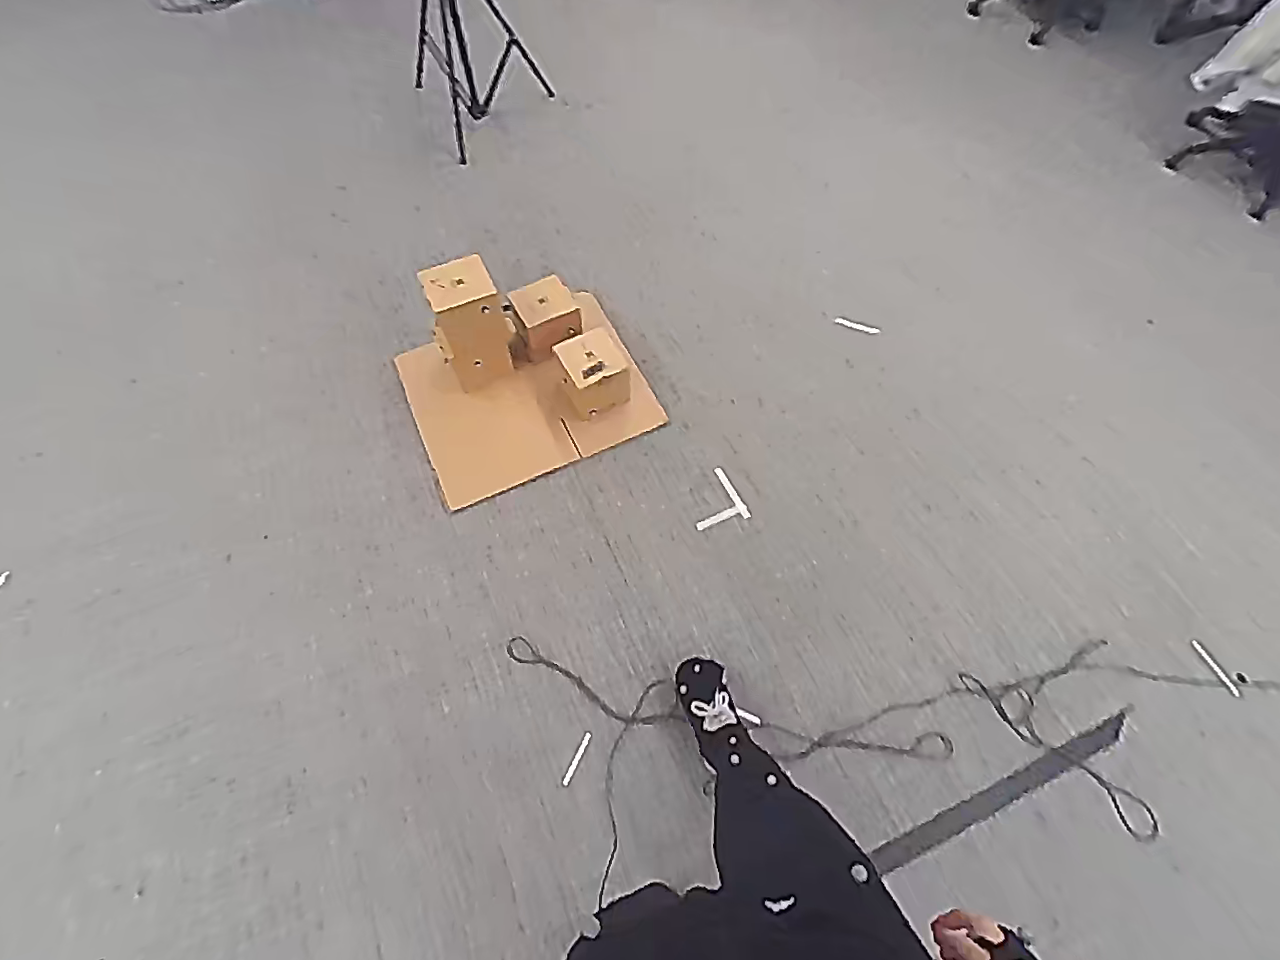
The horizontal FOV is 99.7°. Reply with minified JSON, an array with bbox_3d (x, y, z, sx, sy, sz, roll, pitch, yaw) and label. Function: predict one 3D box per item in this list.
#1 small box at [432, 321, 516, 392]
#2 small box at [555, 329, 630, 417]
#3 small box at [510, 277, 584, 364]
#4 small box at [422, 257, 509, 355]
[{"bbox_3d":[-0.504,-0.401,1.659,0.179,0.176,0.168,-28,68,-13],"label":"small box"},{"bbox_3d":[-0.136,-0.312,1.621,0.168,0.176,0.179,-27,67,-13],"label":"small box"},{"bbox_3d":[-0.288,-0.503,1.716,0.179,0.176,0.168,-28,66,-13],"label":"small box"},{"bbox_3d":[-0.480,-0.484,1.516,0.179,0.176,0.168,-24,65,-12],"label":"small box"}]
